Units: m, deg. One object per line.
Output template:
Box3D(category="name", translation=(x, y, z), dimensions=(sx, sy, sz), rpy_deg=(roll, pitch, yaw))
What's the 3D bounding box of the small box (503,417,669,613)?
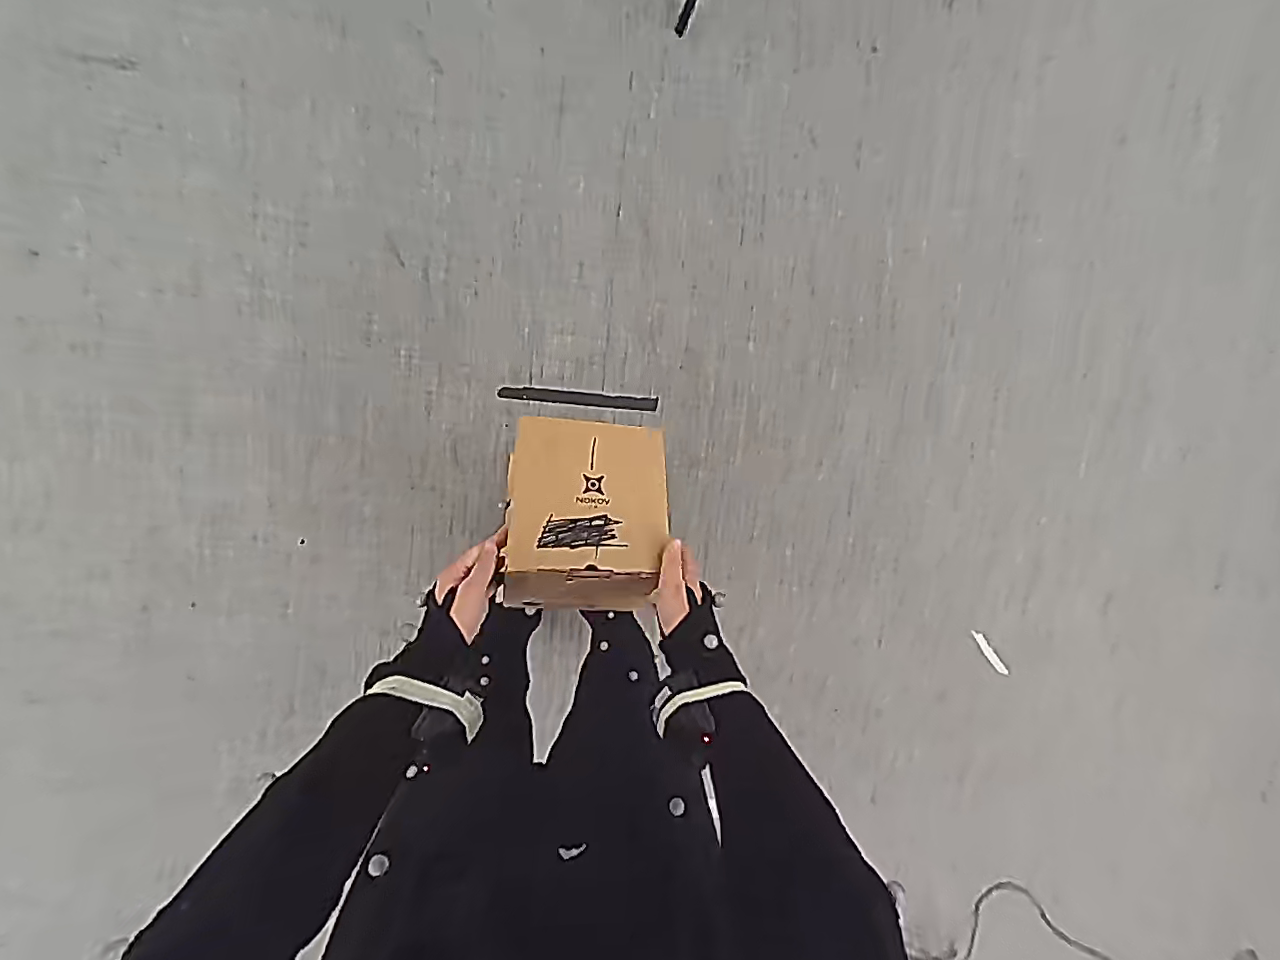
Box3D(category="small box", translation=(-0.069, 0.052, 0.633), dimensions=(0.168, 0.176, 0.179), rpy_deg=(5, 61, -13))
